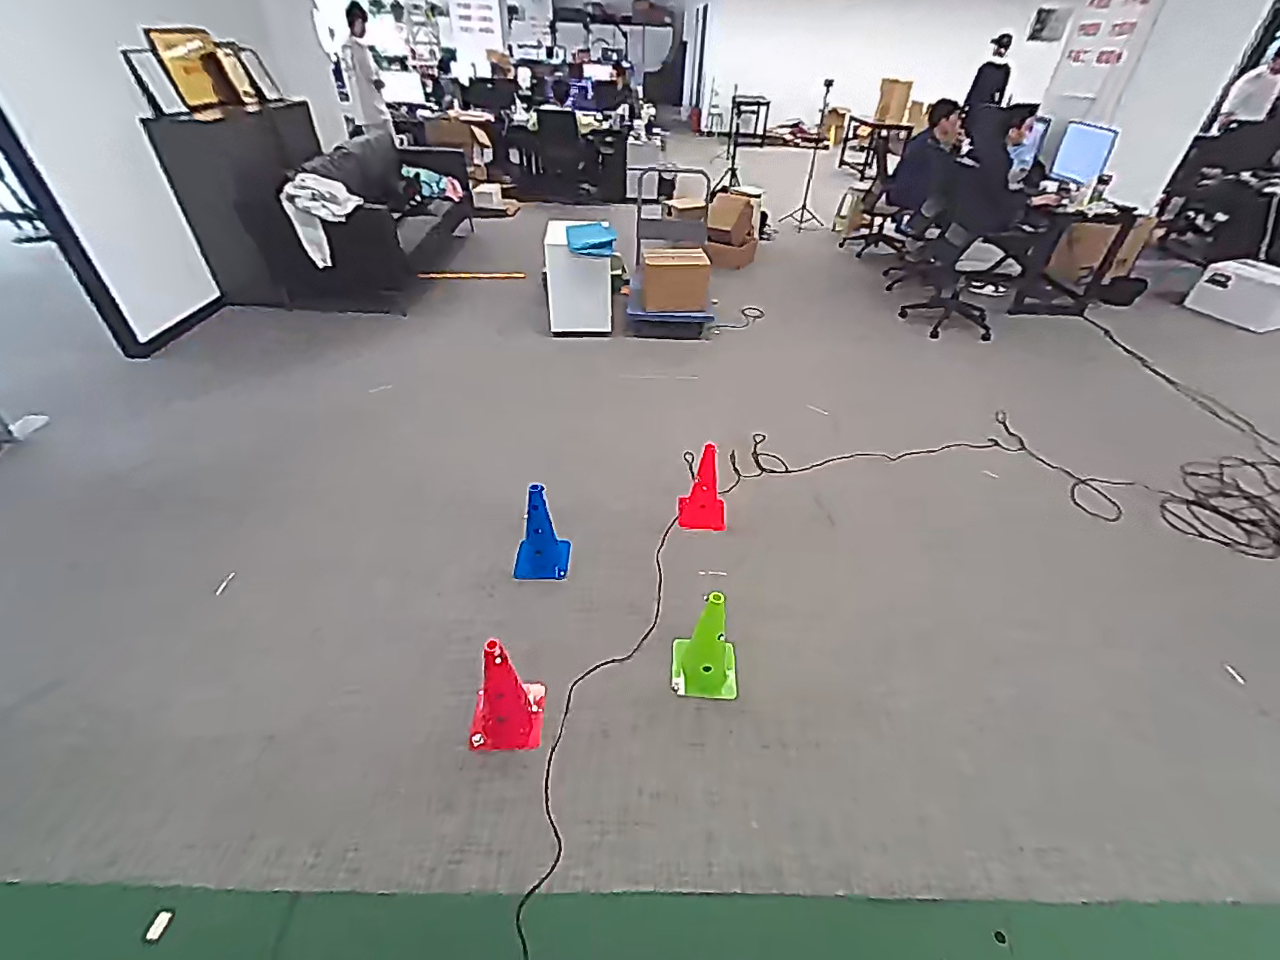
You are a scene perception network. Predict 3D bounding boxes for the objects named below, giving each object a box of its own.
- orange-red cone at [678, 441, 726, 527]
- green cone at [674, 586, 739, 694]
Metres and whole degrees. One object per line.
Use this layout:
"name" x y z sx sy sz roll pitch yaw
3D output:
"orange-red cone" 0.265 -0.002 2.186 0.198 0.360 0.199 4 41 4
"green cone" 0.215 0.453 1.616 0.200 0.368 0.202 3 38 1
